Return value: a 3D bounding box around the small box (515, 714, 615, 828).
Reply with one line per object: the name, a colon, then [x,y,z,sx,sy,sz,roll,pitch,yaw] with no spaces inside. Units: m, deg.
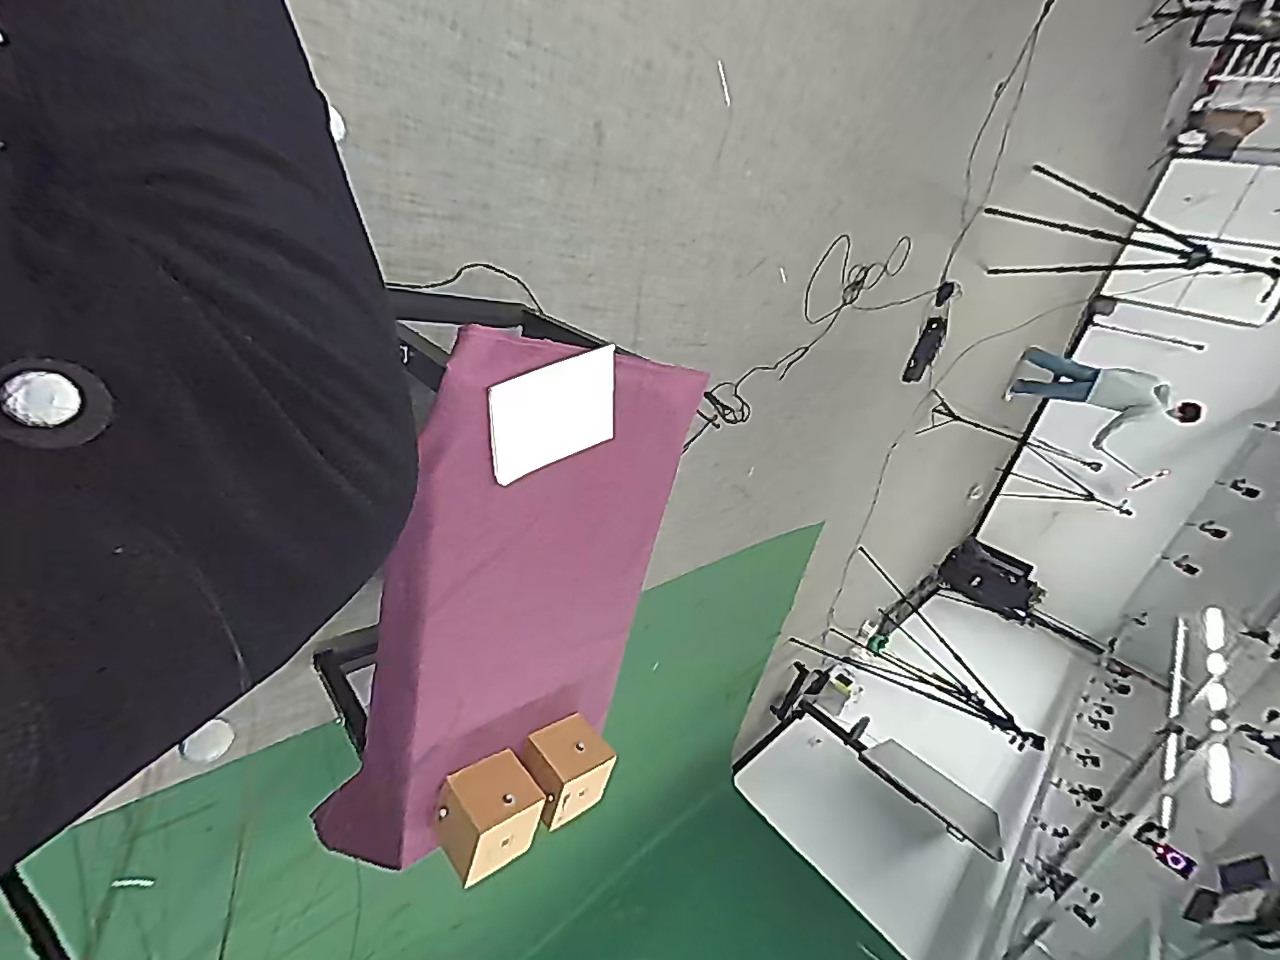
small box: [-0.199,0.755,1.426,0.179,0.176,0.168,-4,117,-48]
